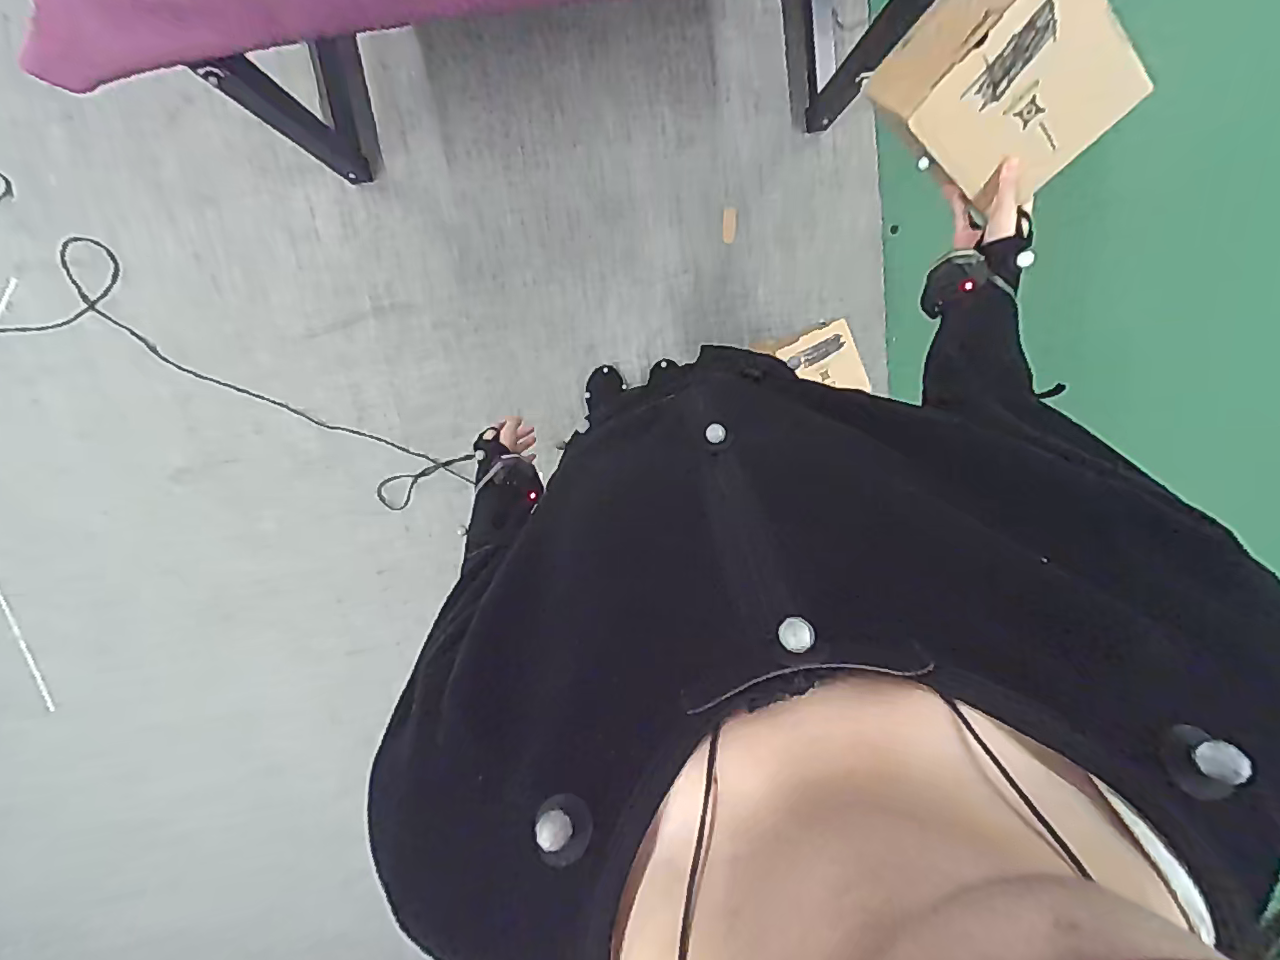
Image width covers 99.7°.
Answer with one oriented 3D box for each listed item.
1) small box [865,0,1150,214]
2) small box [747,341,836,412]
[{"bbox_3d":[0.381,-0.438,0.591,0.179,0.176,0.168,28,128,-26],"label":"small box"},{"bbox_3d":[0.381,-0.266,1.397,0.179,0.176,0.168,2,102,-3],"label":"small box"}]
